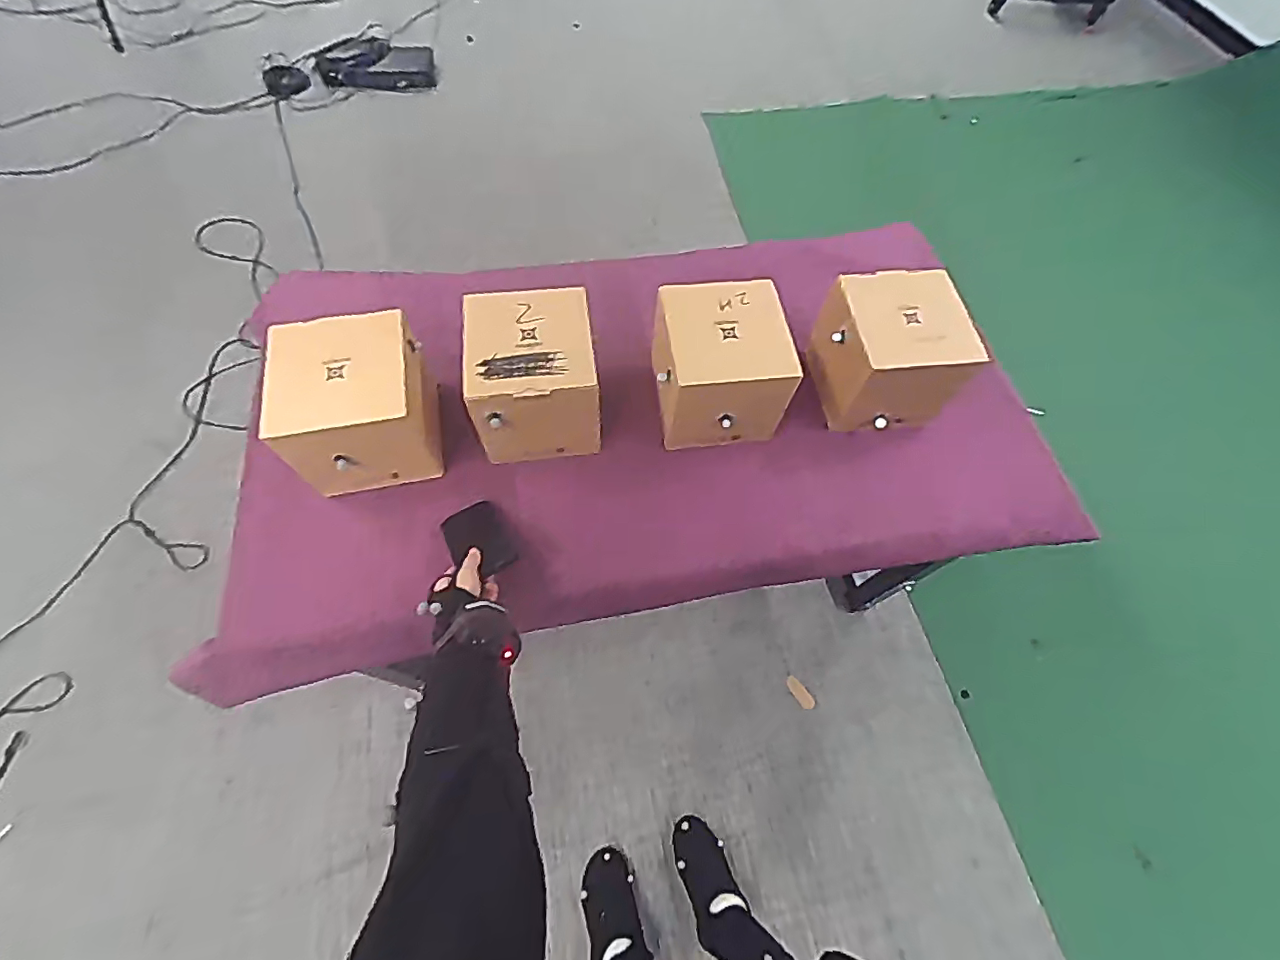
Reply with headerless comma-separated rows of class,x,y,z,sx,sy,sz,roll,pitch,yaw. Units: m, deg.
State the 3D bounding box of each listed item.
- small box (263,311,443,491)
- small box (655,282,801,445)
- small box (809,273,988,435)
small box,-0.377,-0.098,0.741,0.168,0.176,0.179,-11,63,-8
small box,0.116,-0.163,0.797,0.168,0.176,0.179,-5,63,-6
small box,0.374,-0.188,0.824,0.168,0.176,0.179,-4,63,-4
